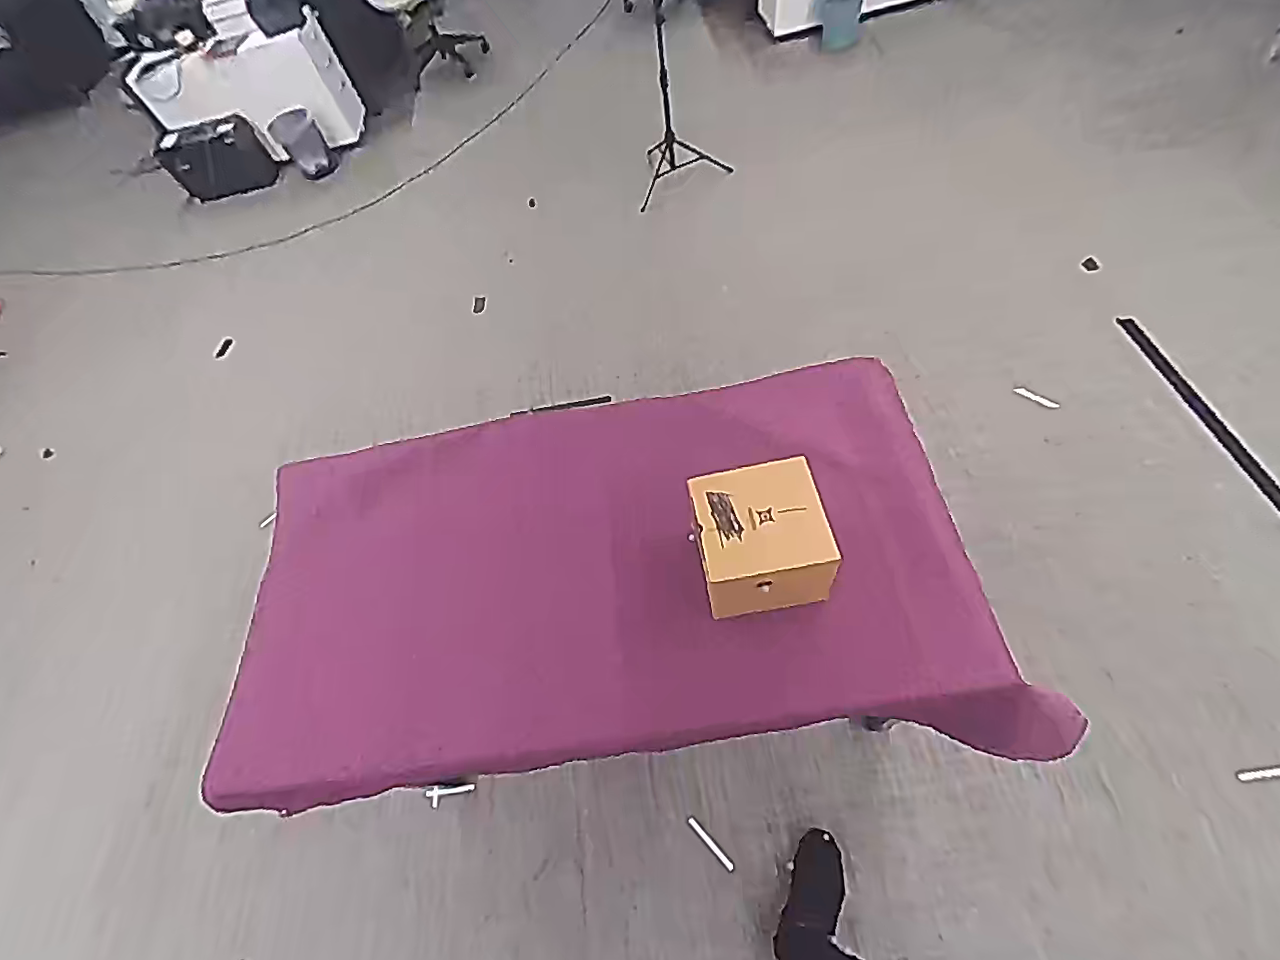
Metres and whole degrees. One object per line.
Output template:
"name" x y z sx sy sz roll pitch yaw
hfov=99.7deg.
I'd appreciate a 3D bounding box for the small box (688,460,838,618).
"small box" 0.178 0.096 0.813 0.179 0.176 0.168 -11 58 4
